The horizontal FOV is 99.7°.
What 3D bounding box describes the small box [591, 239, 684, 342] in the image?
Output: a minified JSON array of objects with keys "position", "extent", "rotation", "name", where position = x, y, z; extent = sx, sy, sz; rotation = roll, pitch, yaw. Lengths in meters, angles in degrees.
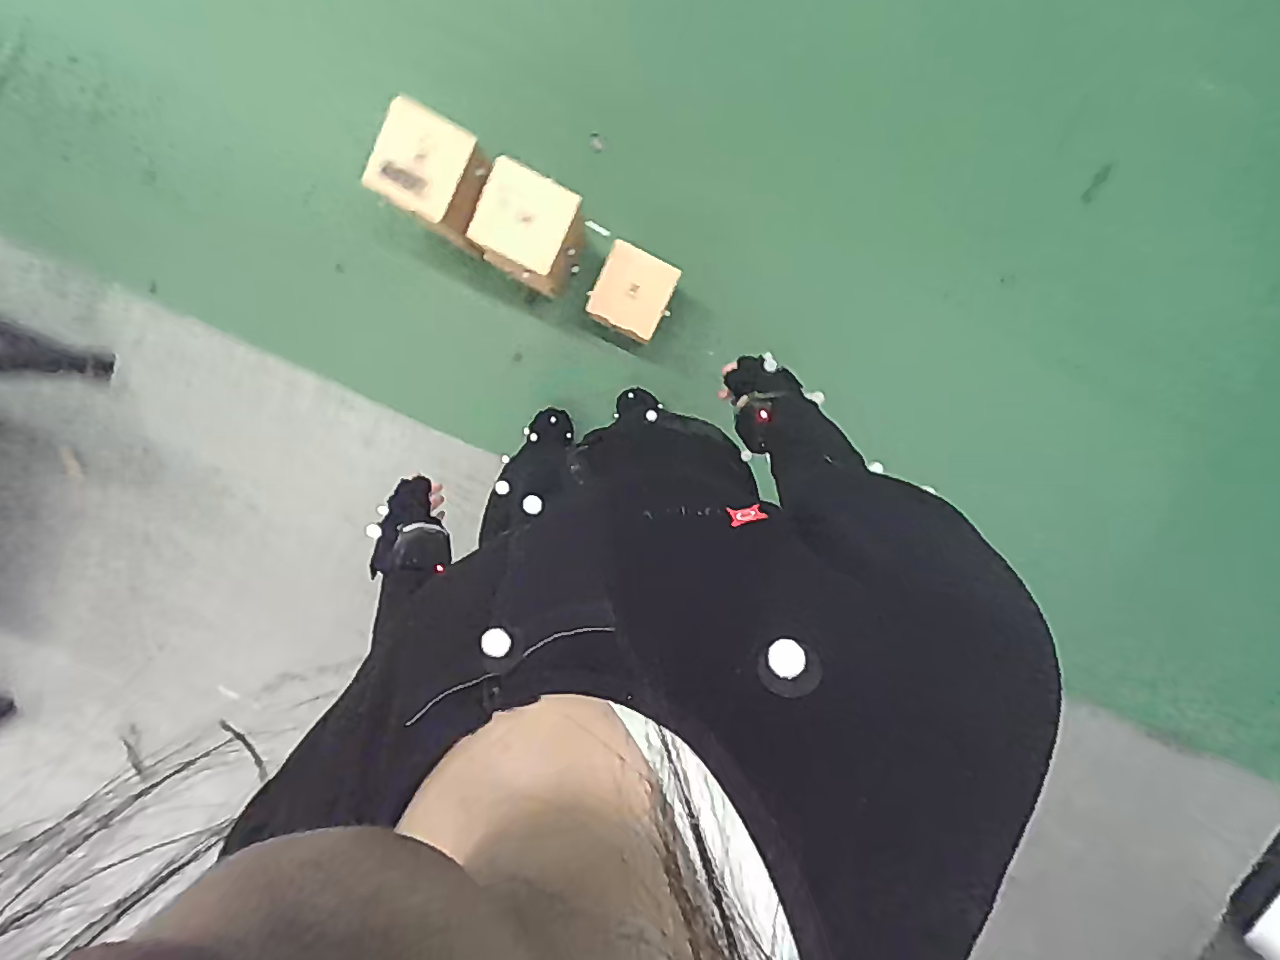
[{"position":[-0.009,-0.456,1.331],"extent":[0.168,0.176,0.179],"rotation":[25,100,-6],"name":"small box"}]
